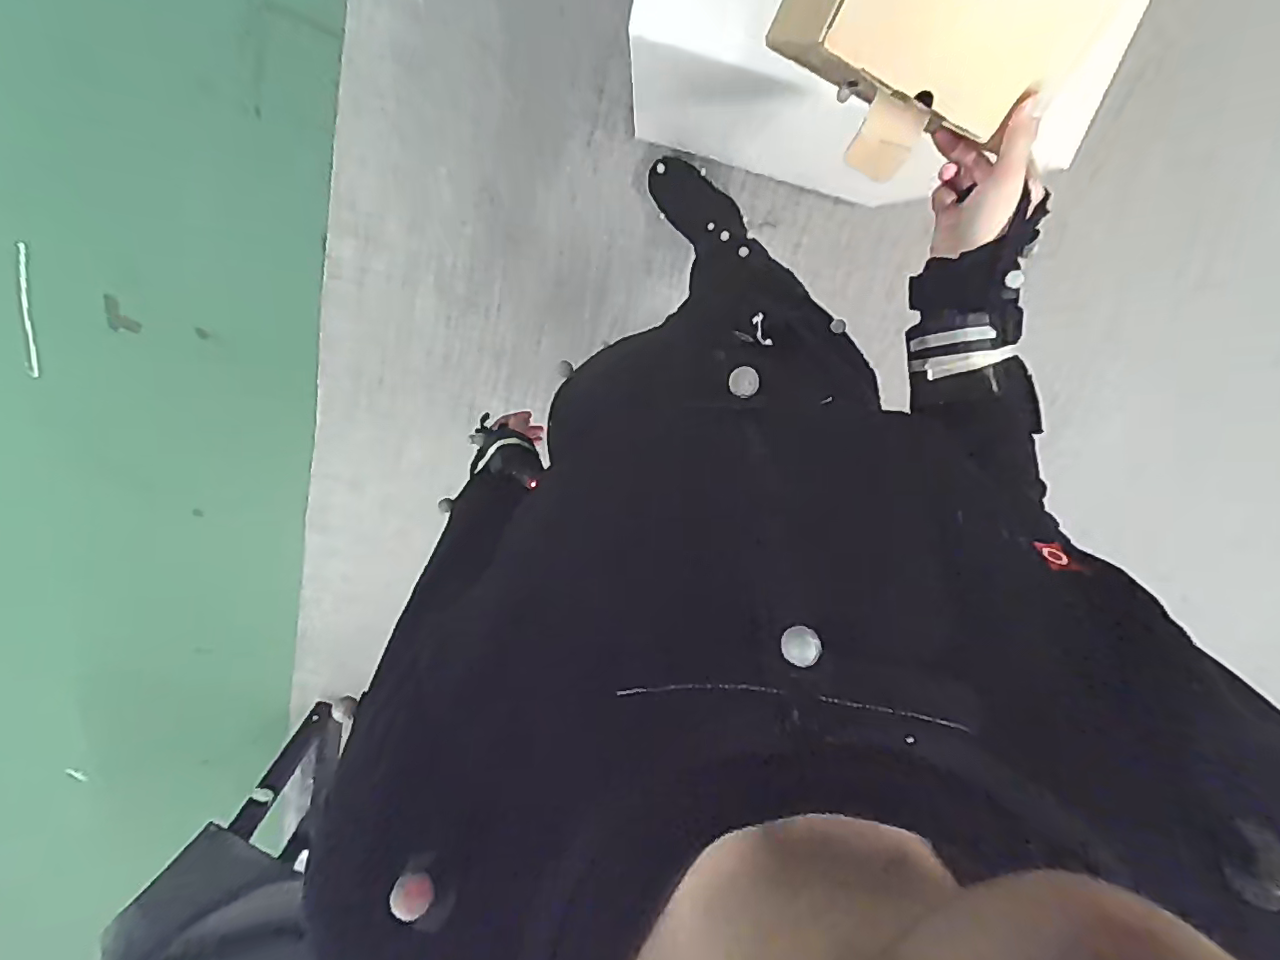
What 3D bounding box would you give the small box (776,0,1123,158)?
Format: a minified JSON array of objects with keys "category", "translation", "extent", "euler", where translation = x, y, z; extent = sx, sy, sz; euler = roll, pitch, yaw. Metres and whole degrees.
[{"category":"small box","translation":[0.217,-0.366,0.378],"extent":[0.168,0.176,0.179],"euler":[16,128,-15]}]
